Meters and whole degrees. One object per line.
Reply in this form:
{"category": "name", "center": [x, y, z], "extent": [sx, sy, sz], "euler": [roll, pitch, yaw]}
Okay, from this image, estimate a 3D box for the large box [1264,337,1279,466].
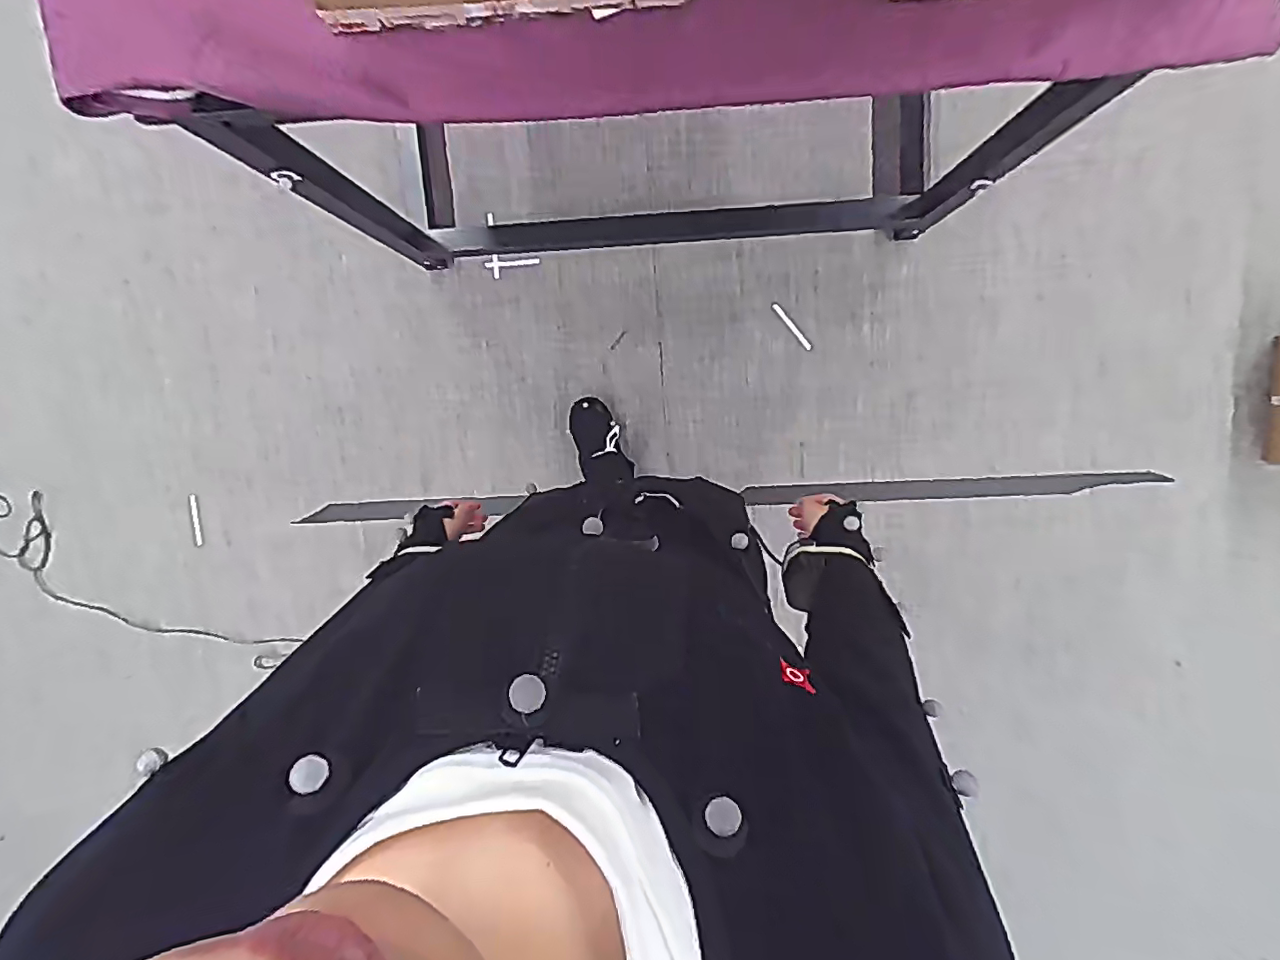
{"category": "large box", "center": [1.687, -0.182, 1.129], "extent": [0.408, 0.320, 0.320], "euler": [-4, 96, 4]}
